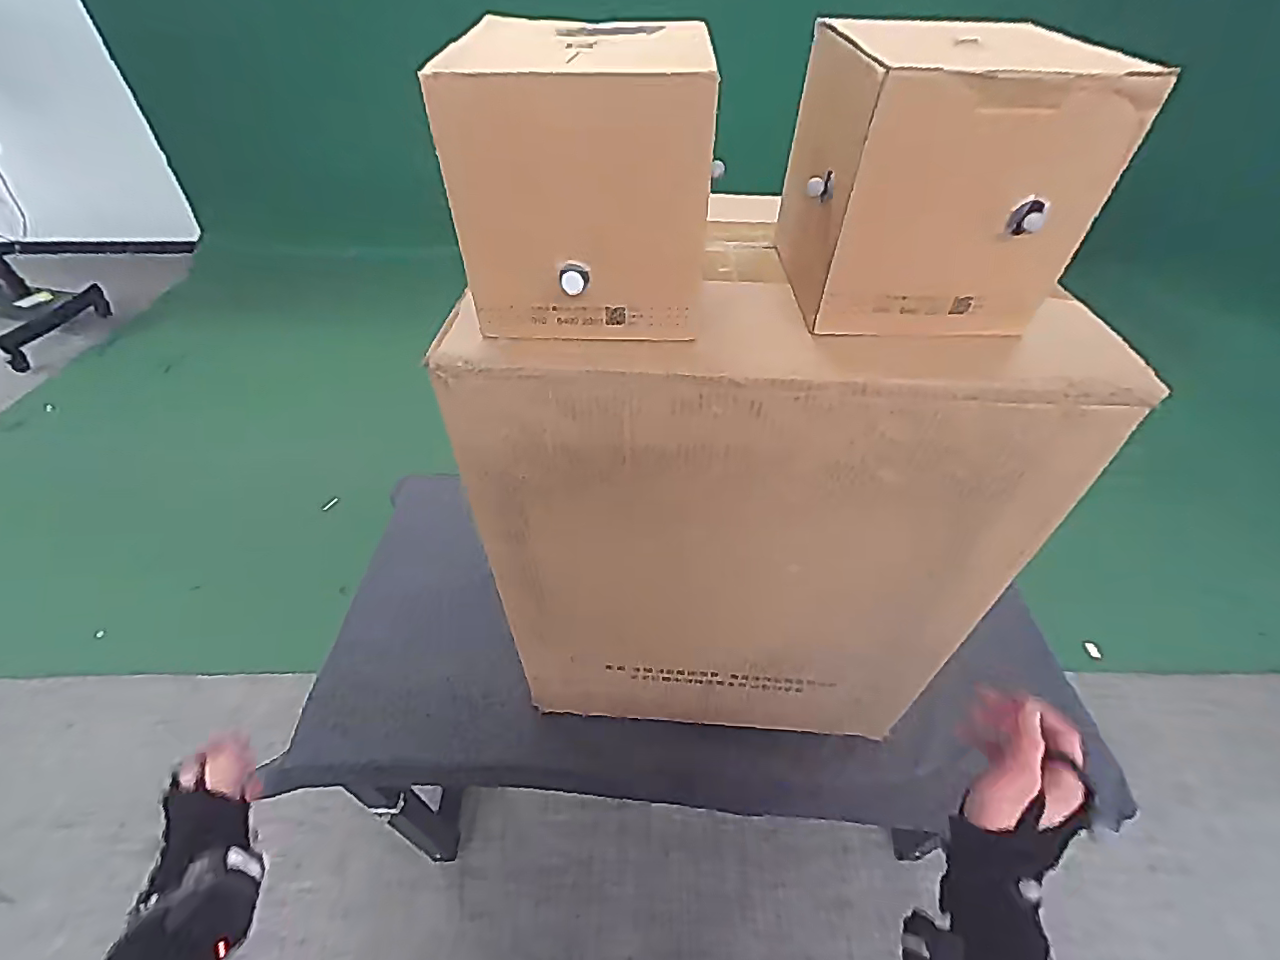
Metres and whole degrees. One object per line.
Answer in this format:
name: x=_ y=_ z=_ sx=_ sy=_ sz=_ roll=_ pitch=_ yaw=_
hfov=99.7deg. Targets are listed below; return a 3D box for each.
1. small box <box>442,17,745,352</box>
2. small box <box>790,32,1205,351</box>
small box: x=-0.019 y=-0.217 z=0.398 sx=0.168 sy=0.176 sz=0.179 roll=4 pitch=48 yaw=4
small box: x=0.227 y=-0.213 z=0.409 sx=0.168 sy=0.176 sz=0.179 roll=2 pitch=47 yaw=-3
